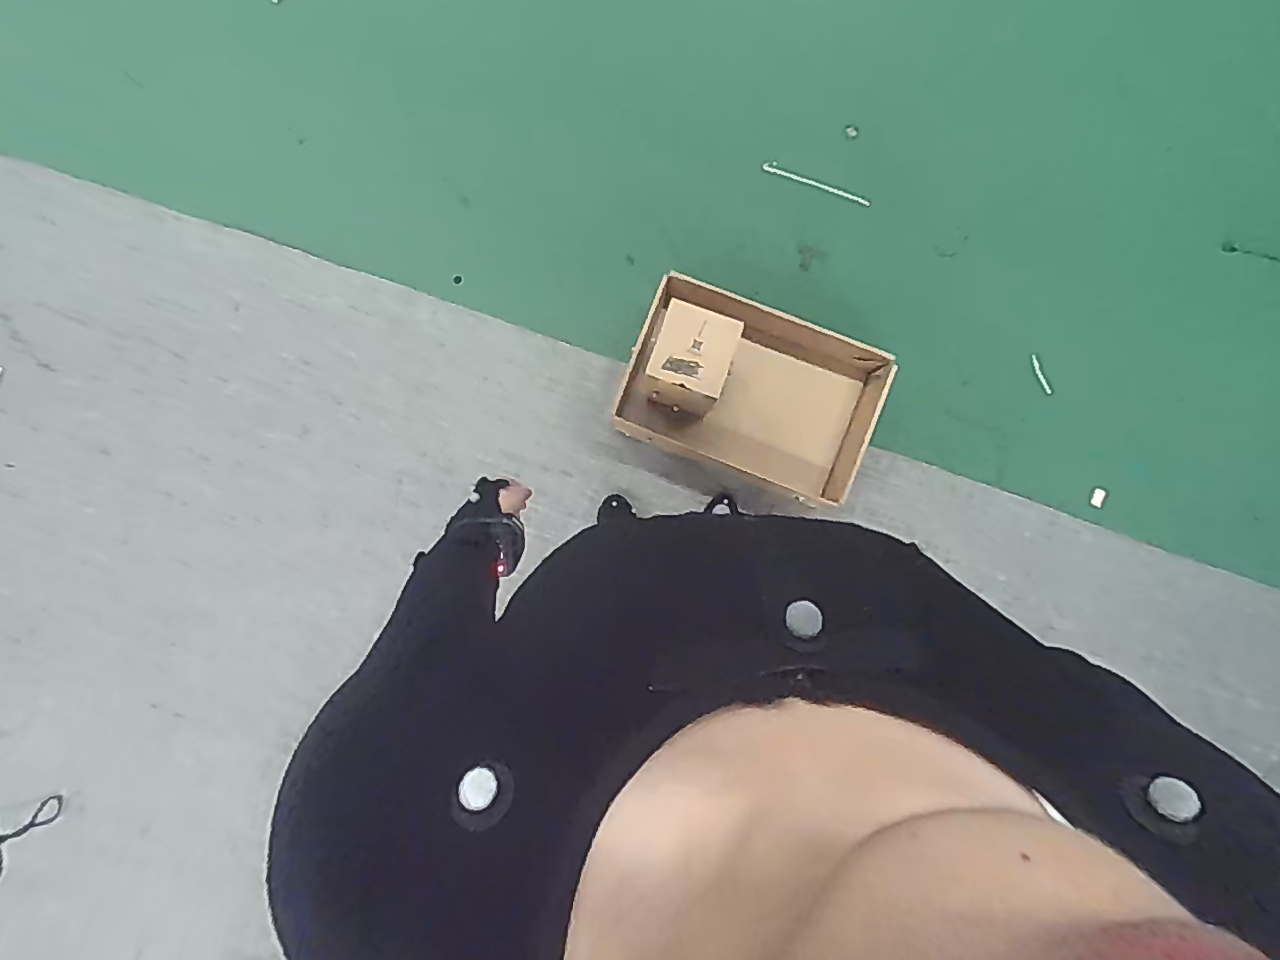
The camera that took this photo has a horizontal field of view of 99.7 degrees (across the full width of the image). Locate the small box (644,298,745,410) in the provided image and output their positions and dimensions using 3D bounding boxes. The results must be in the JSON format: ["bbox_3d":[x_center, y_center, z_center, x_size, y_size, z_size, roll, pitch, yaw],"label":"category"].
[{"bbox_3d":[0.114,-0.268,1.199,0.168,0.176,0.179,20,88,0],"label":"small box"}]

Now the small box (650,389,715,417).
[{"bbox_3d":[0.123,-0.274,1.363,0.168,0.176,0.179,18,89,1],"label":"small box"}]
